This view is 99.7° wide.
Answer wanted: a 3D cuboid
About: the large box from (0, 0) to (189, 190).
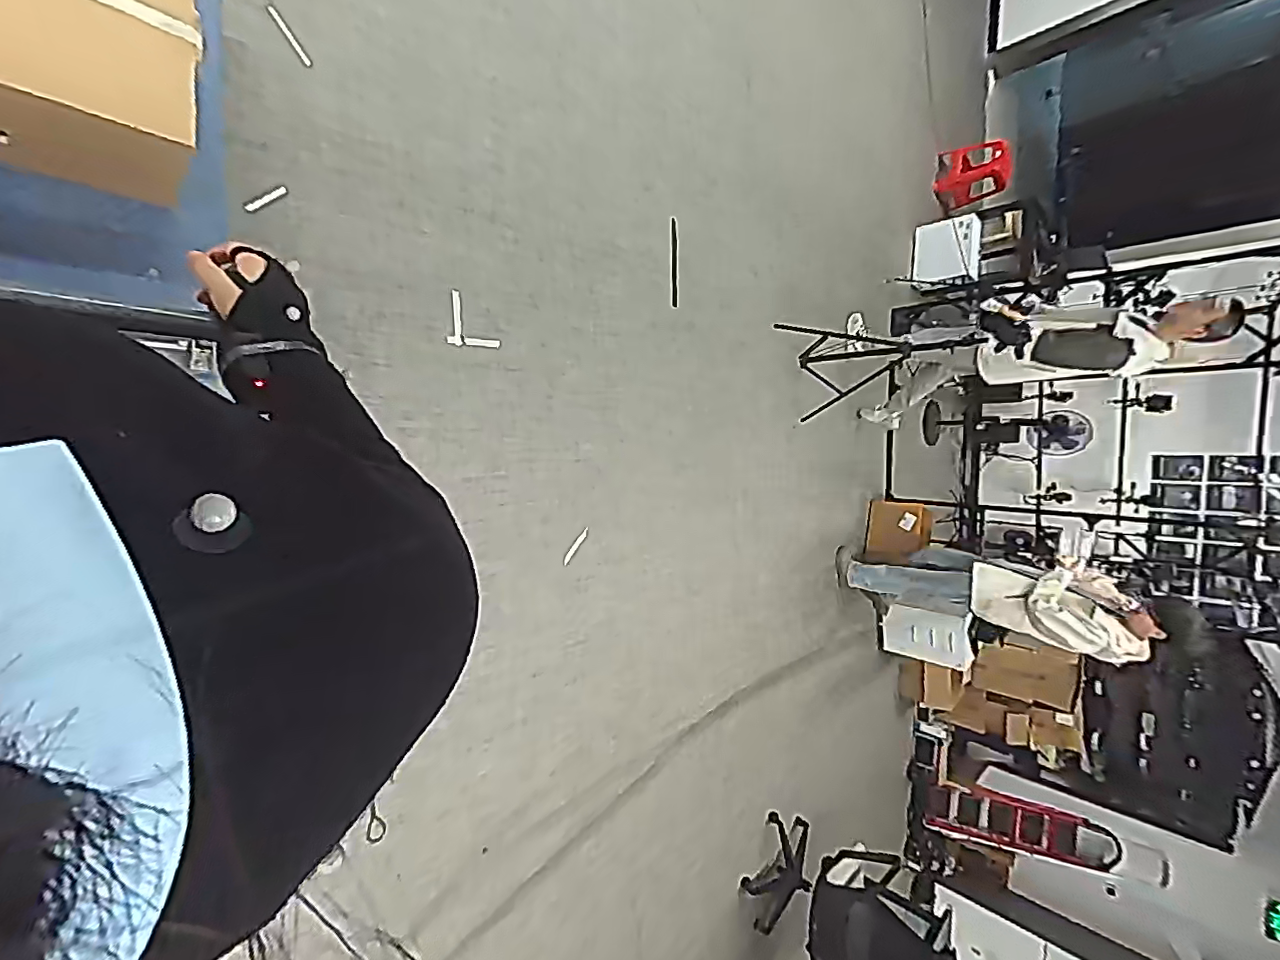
[{"bbox_3d":[-0.919,-0.675,0.768,0.408,0.320,0.320,-1,94,-45],"label":"large box"}]
